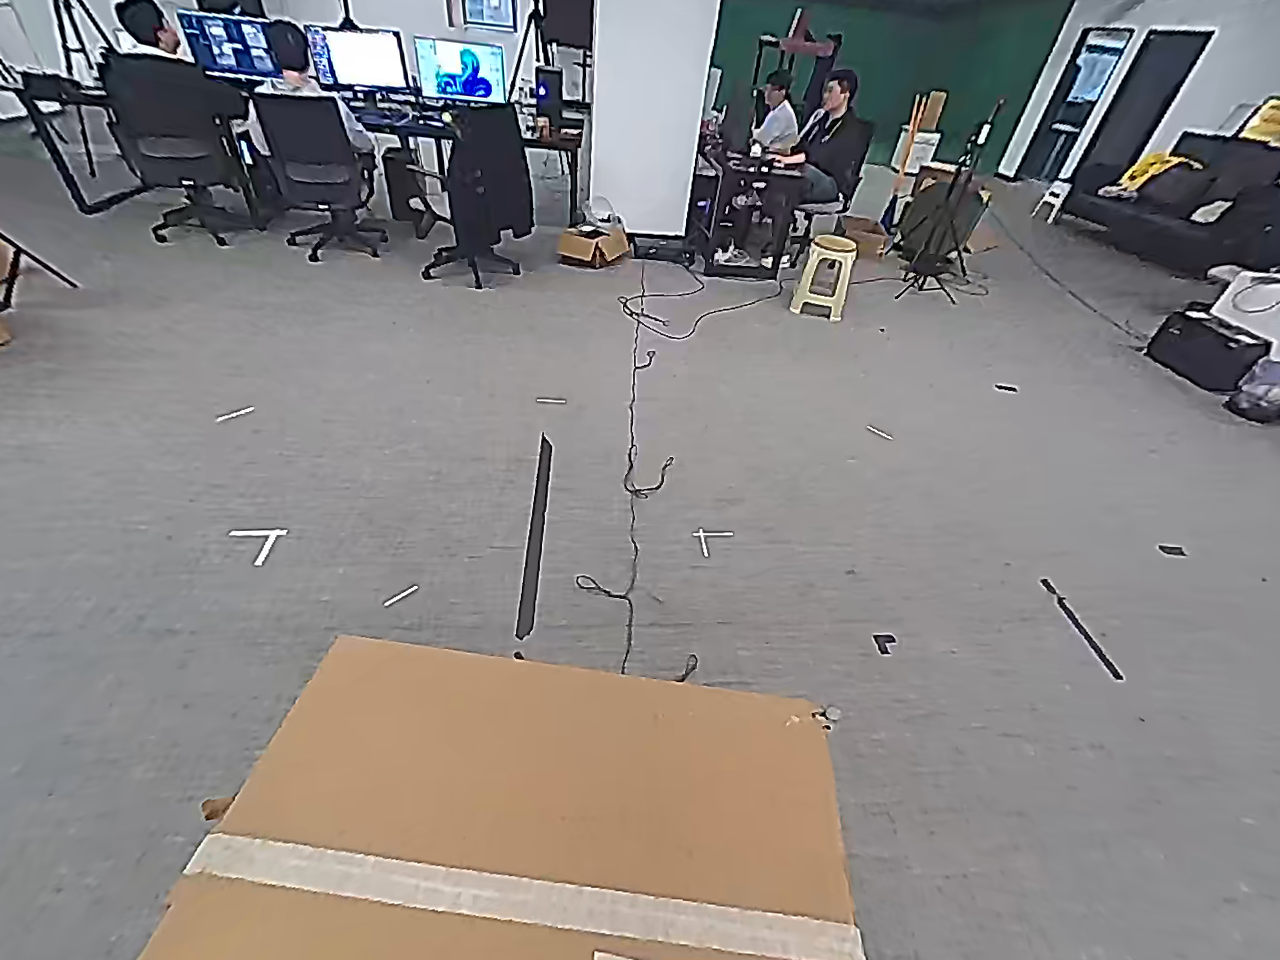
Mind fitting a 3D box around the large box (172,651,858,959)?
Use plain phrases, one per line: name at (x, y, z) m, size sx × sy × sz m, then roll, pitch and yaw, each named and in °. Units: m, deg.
large box at (-0.077, 0.377, 0.434) m, size 0.408 × 0.320 × 0.320 m, roll 8°, pitch 41°, yaw 1°
